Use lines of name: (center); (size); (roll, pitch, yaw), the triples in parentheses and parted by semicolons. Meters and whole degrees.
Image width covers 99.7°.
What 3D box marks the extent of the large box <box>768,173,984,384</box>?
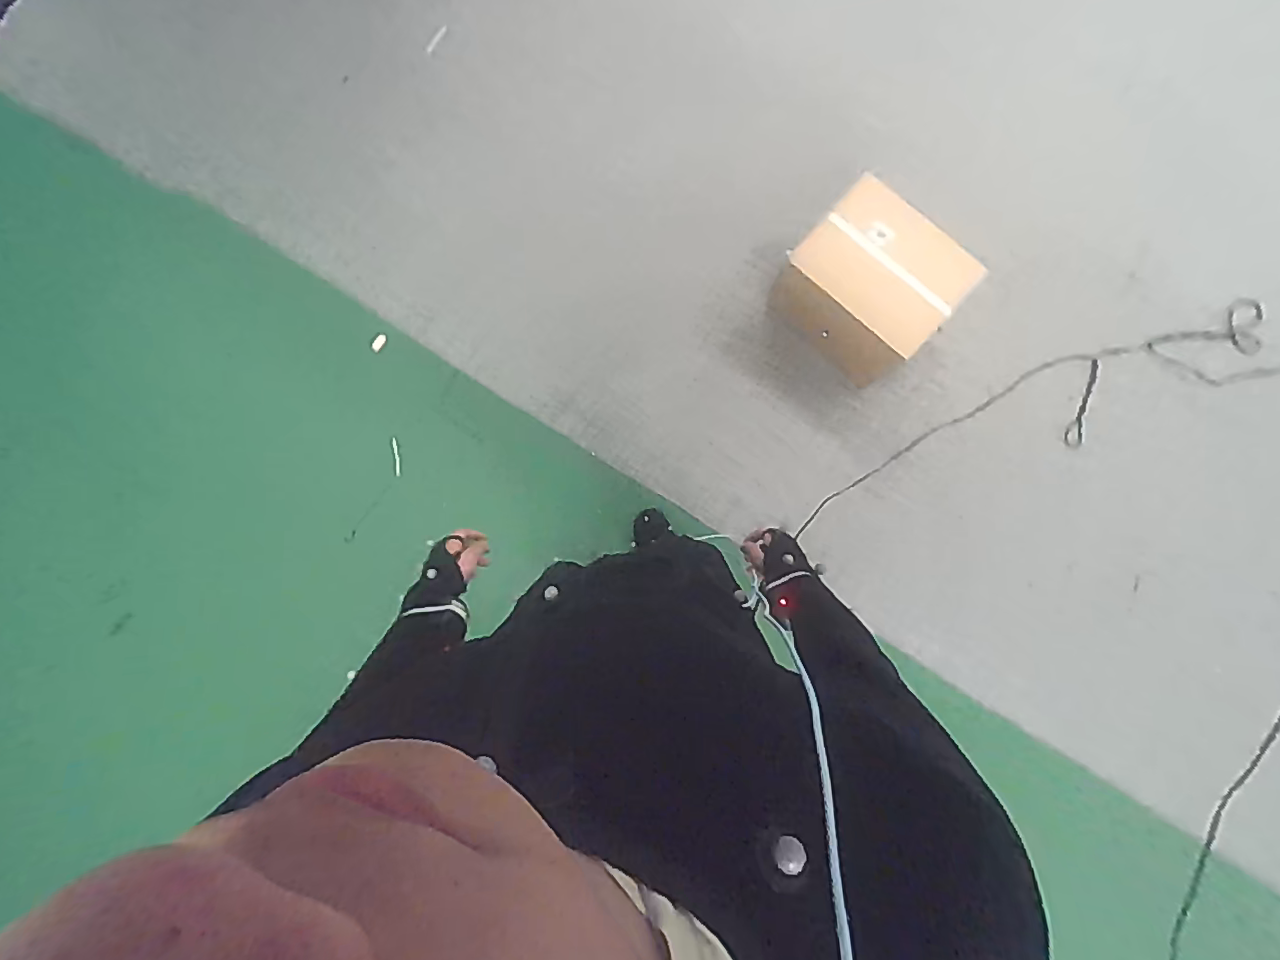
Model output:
large box: (0.627, -0.537, 1.514); (0.408, 0.320, 0.320); (43, 89, 6)
